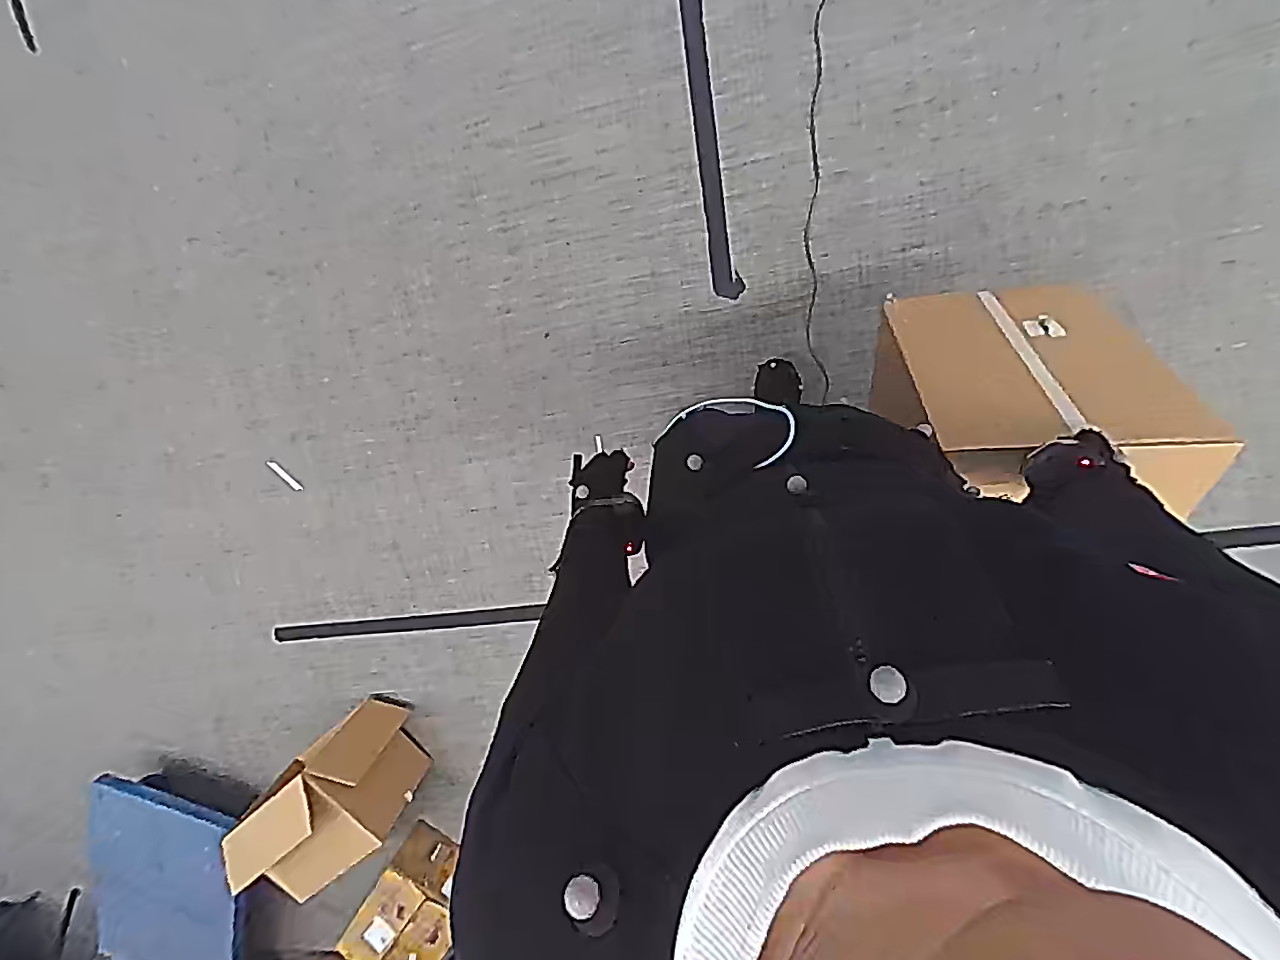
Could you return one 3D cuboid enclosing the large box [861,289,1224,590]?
[{"bbox_3d":[0.575,-0.069,0.891,0.320,0.408,0.320,-1,134,11],"label":"large box"}]
